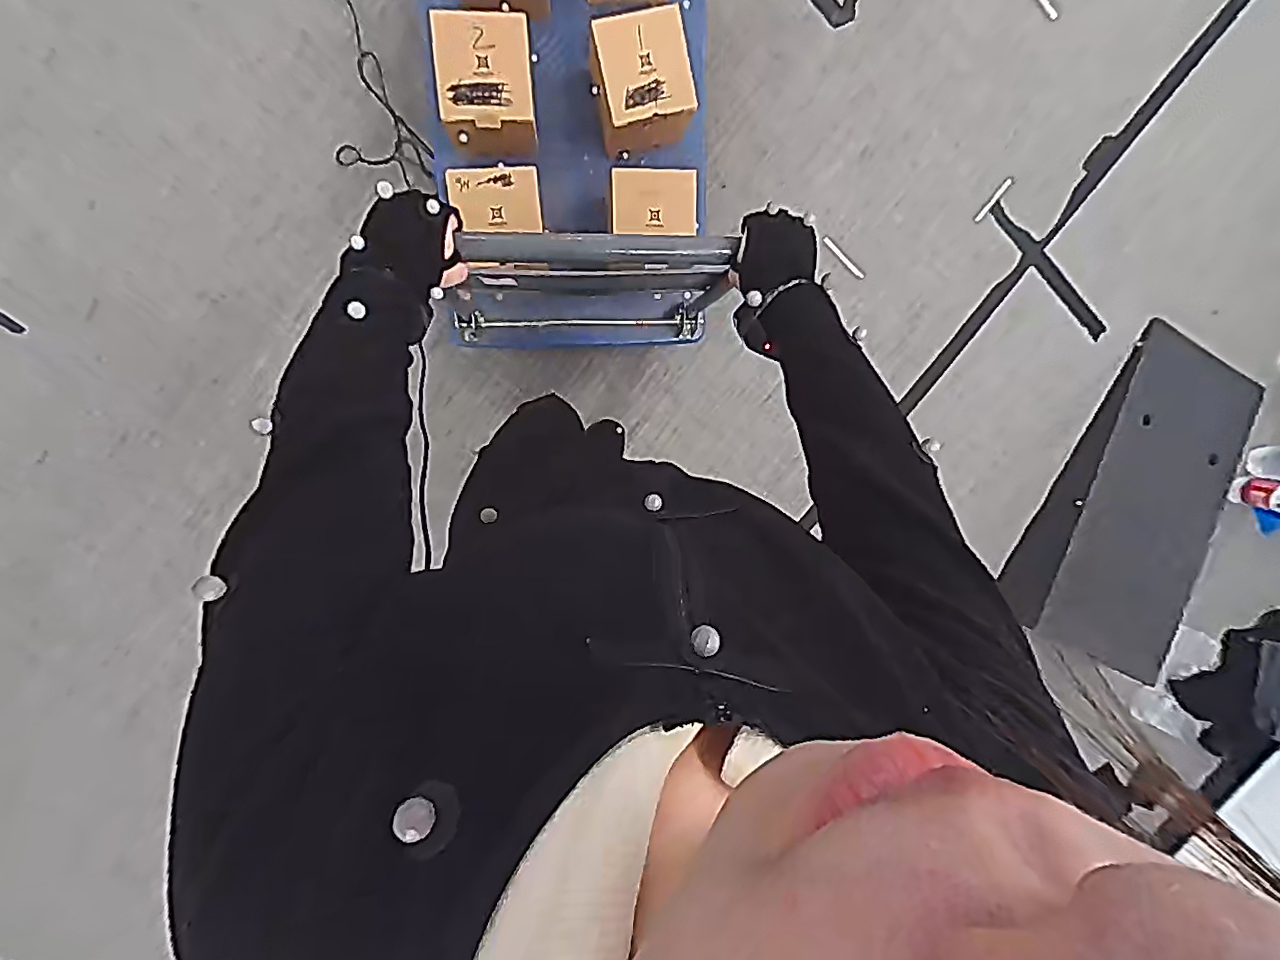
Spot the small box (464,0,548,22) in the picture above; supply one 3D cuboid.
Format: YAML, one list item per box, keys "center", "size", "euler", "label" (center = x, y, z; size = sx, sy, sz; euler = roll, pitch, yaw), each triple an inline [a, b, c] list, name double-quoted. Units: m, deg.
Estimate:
- center: [-0.255, -0.994, 0.988]
  size: [0.168, 0.176, 0.179]
  euler: [-1, 102, -7]
  label: "small box"

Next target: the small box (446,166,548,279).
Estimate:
- center: [-0.278, -0.506, 1.085]
  size: [0.168, 0.176, 0.179]
  euler: [-7, 103, -7]
  label: "small box"

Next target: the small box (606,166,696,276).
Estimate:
- center: [0.018, -0.527, 1.124]
  size: [0.168, 0.176, 0.179]
  euler: [-3, 101, -8]
  label: "small box"

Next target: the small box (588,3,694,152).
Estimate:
- center: [-0.003, -0.777, 1.068]
  size: [0.168, 0.176, 0.179]
  euler: [-15, 102, -5]
  label: "small box"
